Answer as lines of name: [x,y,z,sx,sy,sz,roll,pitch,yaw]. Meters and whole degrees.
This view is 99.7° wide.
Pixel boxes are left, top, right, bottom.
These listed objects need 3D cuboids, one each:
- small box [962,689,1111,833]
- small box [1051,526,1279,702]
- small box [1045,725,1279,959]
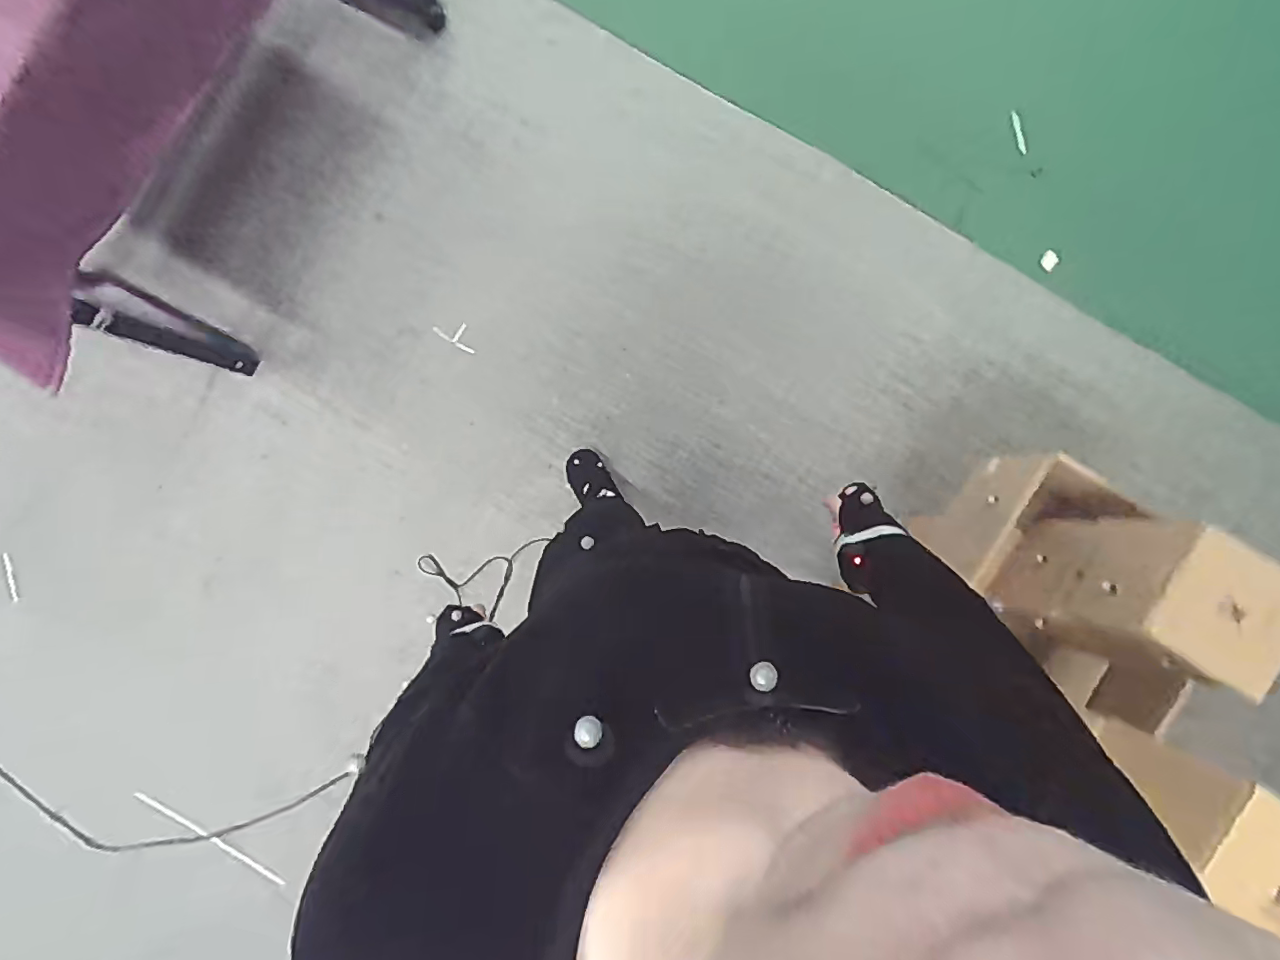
small box: [0.614,0.427,0.773,0.179,0.176,0.168,36,88,0]
small box: [0.759,0.179,0.782,0.179,0.176,0.168,34,89,1]
small box: [0.618,0.418,0.611,0.168,0.176,0.179,35,89,1]
